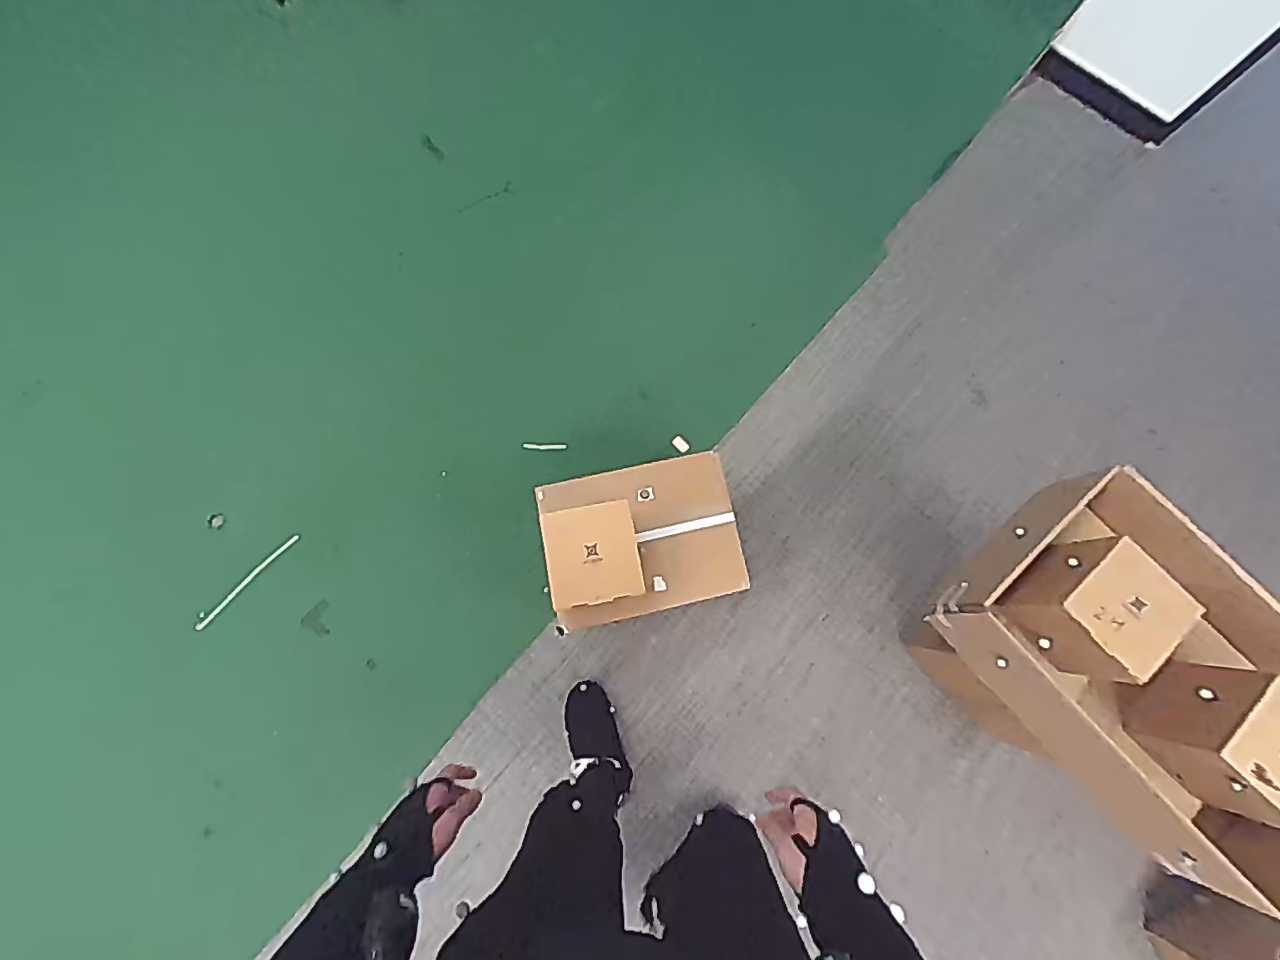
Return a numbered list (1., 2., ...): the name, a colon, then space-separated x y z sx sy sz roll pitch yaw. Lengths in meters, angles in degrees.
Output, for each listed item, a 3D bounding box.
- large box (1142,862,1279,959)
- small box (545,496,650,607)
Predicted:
1. large box: 1.421 1.139 1.131 0.320 0.320 0.408 -24 79 -8
2. small box: -0.082 0.141 1.033 0.168 0.176 0.179 -10 80 -6
